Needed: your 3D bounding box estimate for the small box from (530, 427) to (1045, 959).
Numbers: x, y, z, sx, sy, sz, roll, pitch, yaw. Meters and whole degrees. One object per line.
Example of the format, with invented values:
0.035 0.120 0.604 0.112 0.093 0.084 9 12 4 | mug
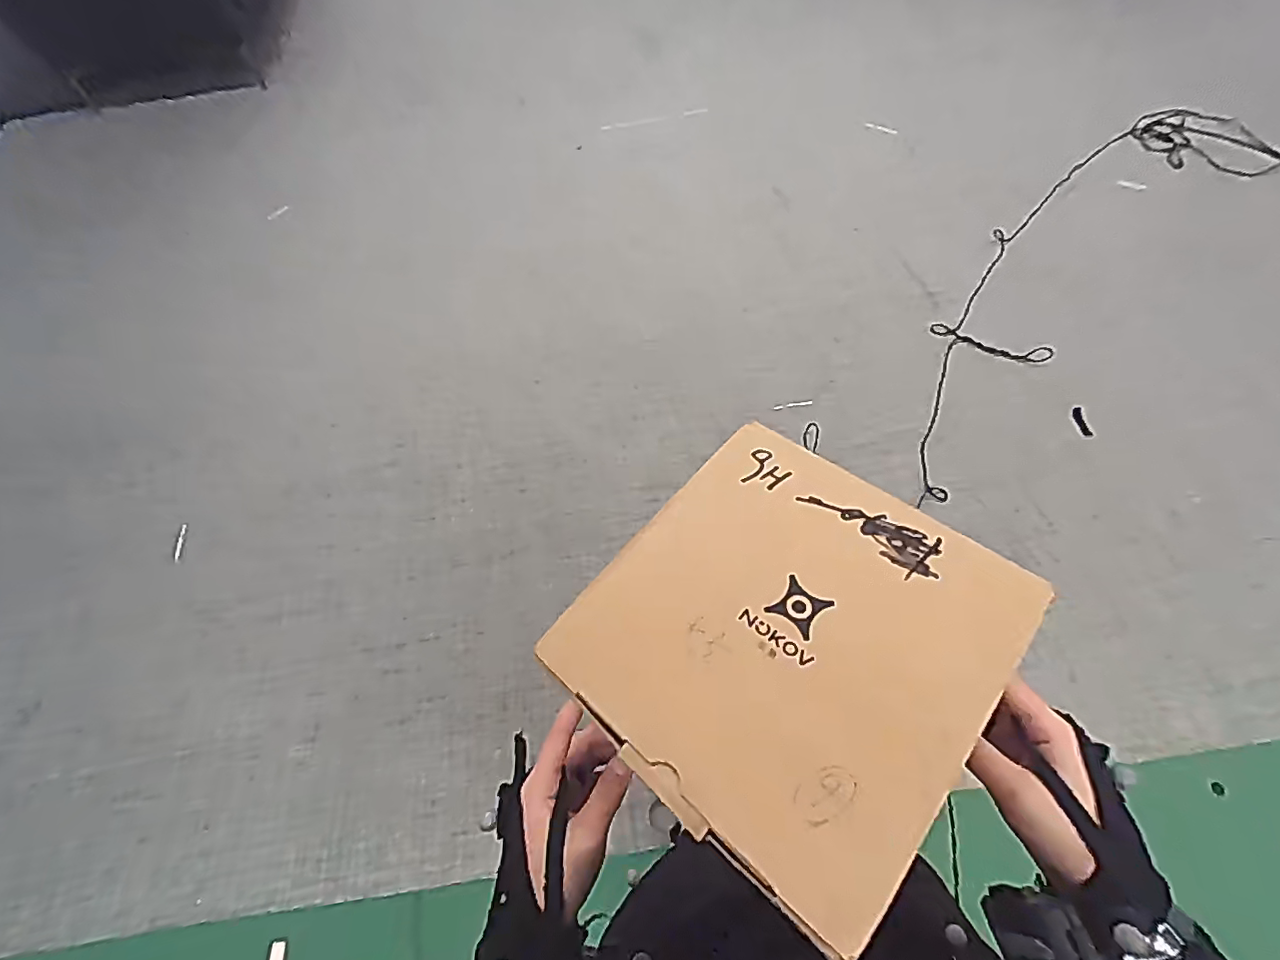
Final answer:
0.074 0.111 0.310 0.168 0.176 0.179 35 68 28 | small box
